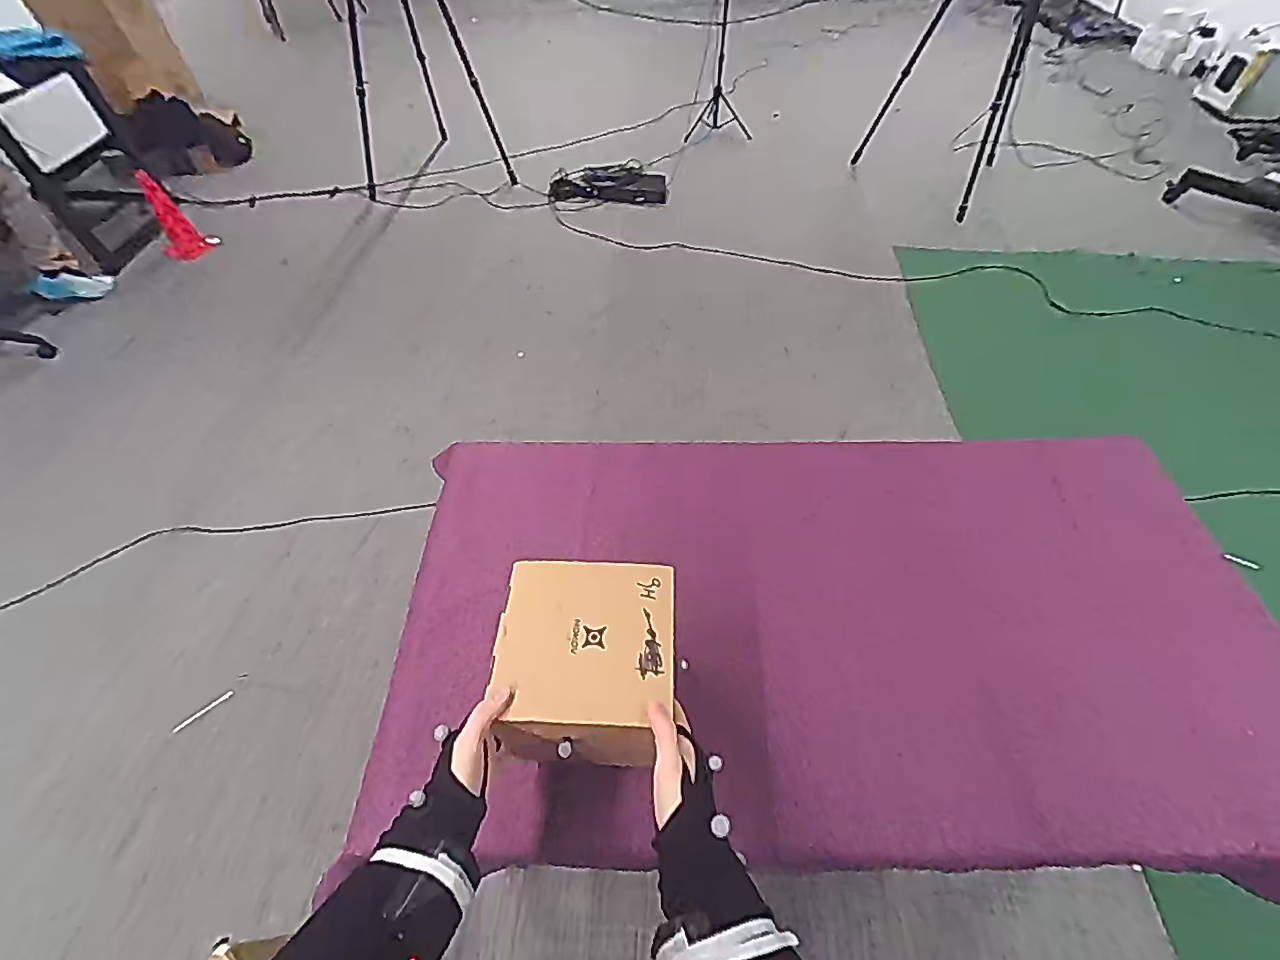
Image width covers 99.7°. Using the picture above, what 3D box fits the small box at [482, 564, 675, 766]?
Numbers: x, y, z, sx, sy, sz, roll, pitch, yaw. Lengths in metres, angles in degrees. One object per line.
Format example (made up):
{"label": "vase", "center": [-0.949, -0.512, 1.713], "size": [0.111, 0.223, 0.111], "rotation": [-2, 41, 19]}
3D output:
{"label": "small box", "center": [-0.051, 0.207, 0.596], "size": [0.179, 0.176, 0.168], "rotation": [1, 52, 3]}
